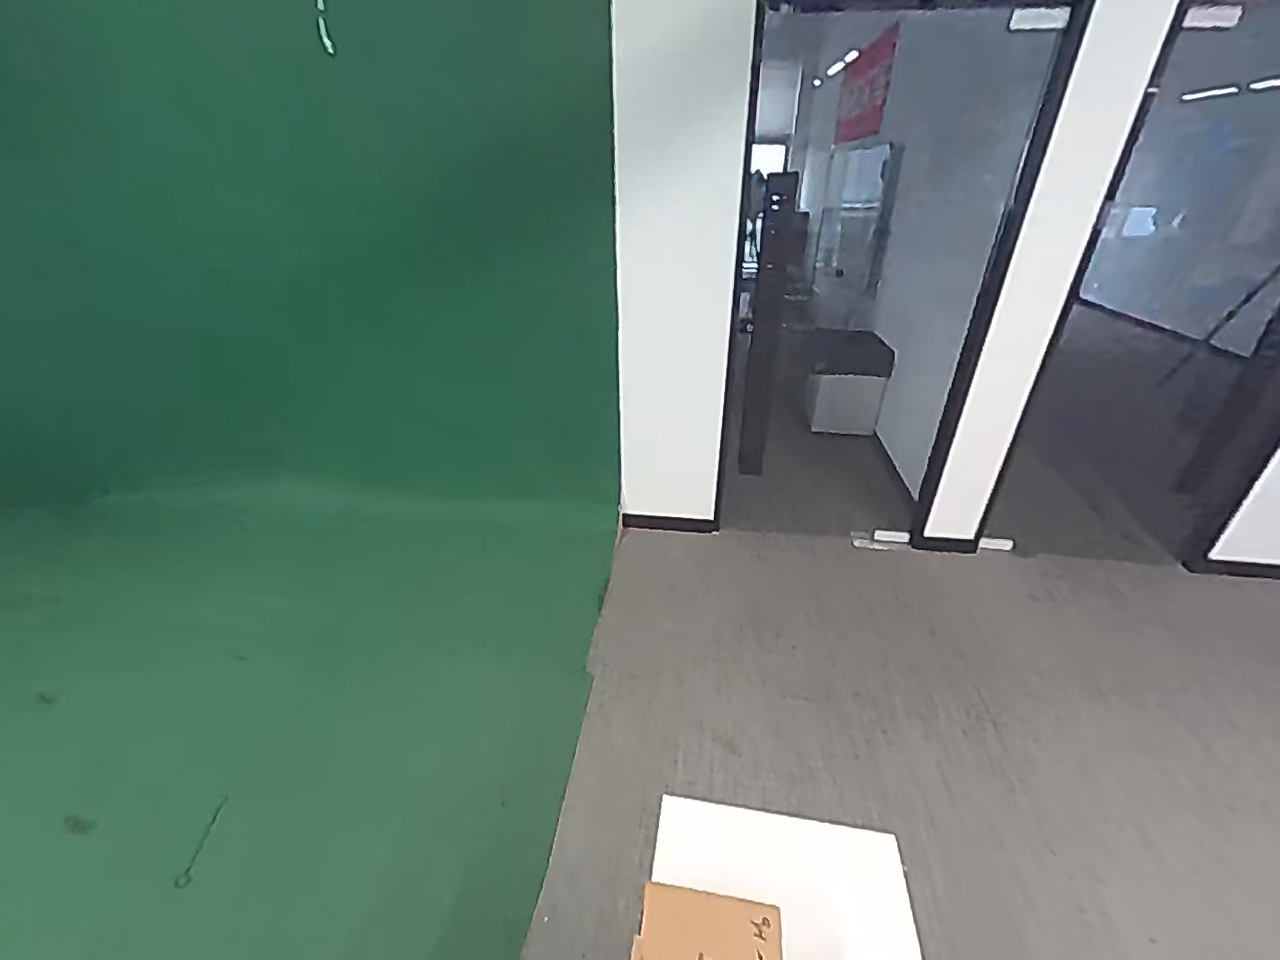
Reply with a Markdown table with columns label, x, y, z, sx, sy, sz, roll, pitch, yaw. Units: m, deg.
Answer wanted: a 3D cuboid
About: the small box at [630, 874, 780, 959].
| label | x | y | z | sx | sy | sz | roll | pitch | yaw |
| --- | --- | --- | --- | --- | --- | --- | --- | --- | --- |
| small box | 0.075 | 0.634 | 0.670 | 0.179 | 0.176 | 0.168 | 6 | 31 | 8 |
